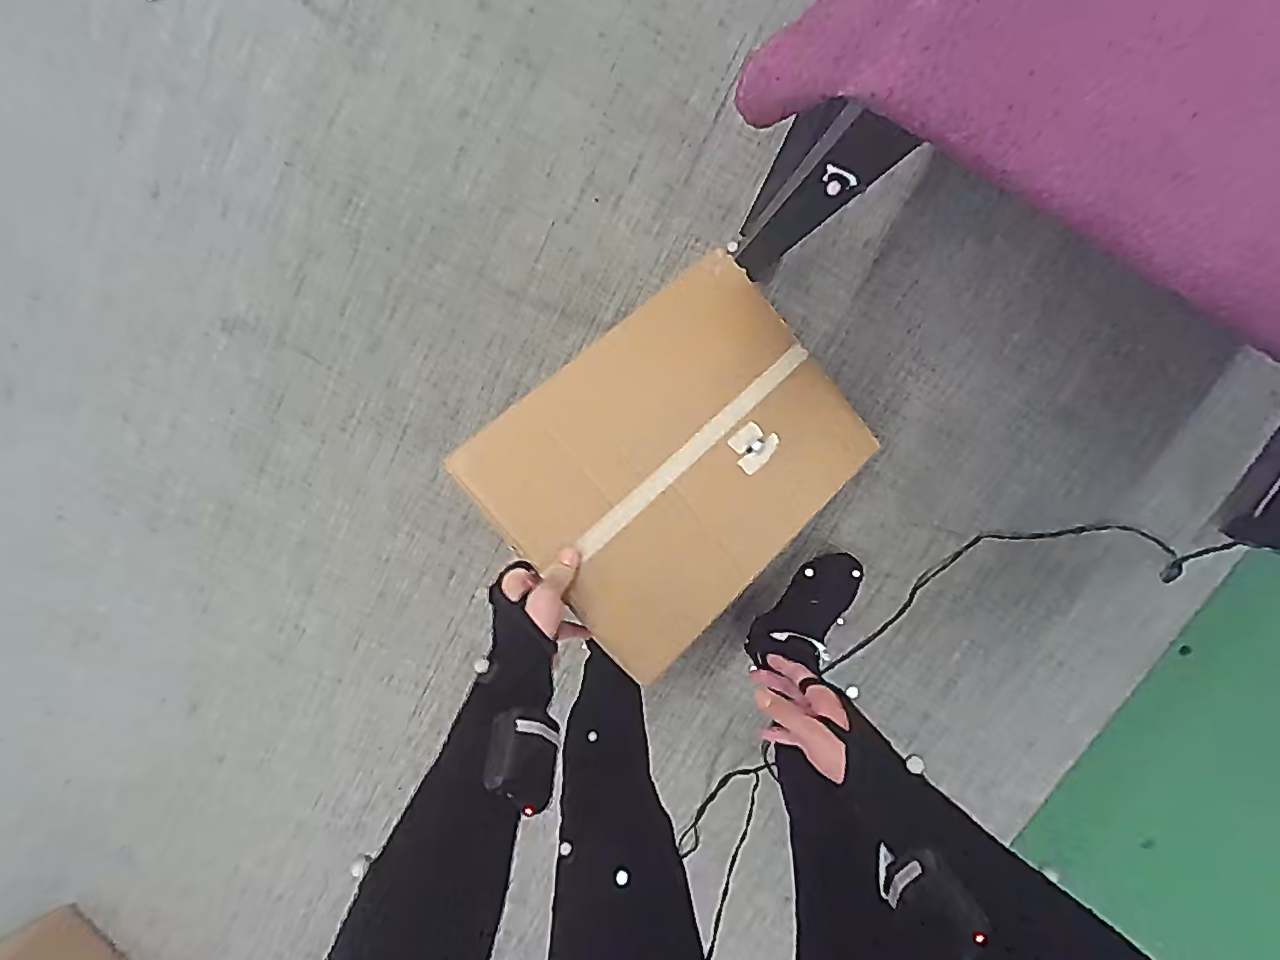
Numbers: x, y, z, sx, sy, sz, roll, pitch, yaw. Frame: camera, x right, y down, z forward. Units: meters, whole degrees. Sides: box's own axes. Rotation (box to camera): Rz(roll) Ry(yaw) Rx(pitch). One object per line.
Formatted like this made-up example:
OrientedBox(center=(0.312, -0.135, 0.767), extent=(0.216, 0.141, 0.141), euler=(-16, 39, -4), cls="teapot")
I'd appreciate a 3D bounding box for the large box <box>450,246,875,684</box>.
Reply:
OrientedBox(center=(0.011, -0.013, 0.732), extent=(0.408, 0.320, 0.320), euler=(-42, 96, -16), cls="large box")
